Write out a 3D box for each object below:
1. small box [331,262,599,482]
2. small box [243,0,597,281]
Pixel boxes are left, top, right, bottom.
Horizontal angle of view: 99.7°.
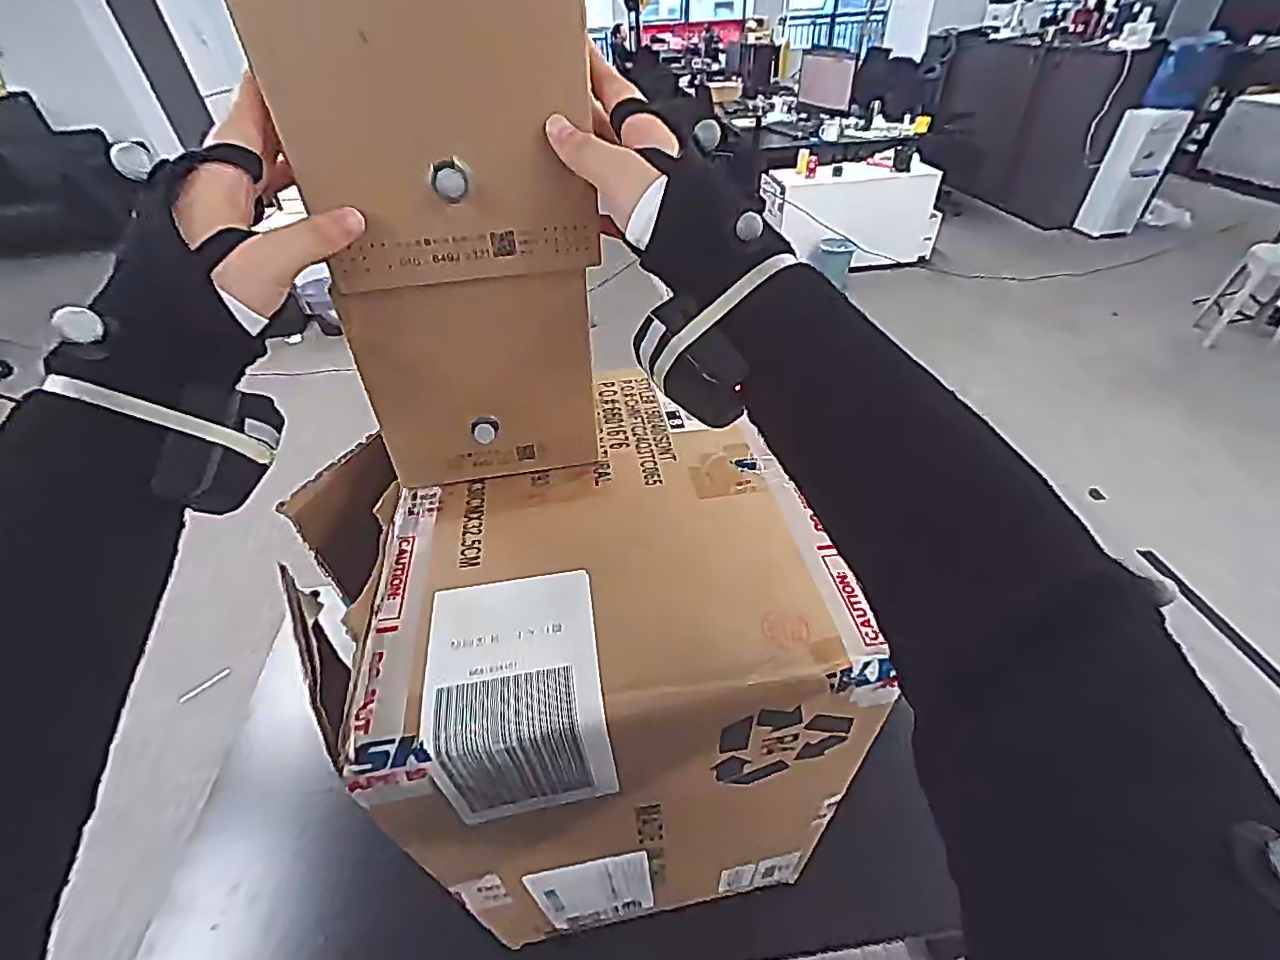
[{"bbox_3d":[-0.131,-0.121,0.464,0.168,0.176,0.179,-9,40,-8],"label":"small box"},{"bbox_3d":[-0.126,-0.244,0.354,0.168,0.176,0.179,-10,40,-9],"label":"small box"}]
